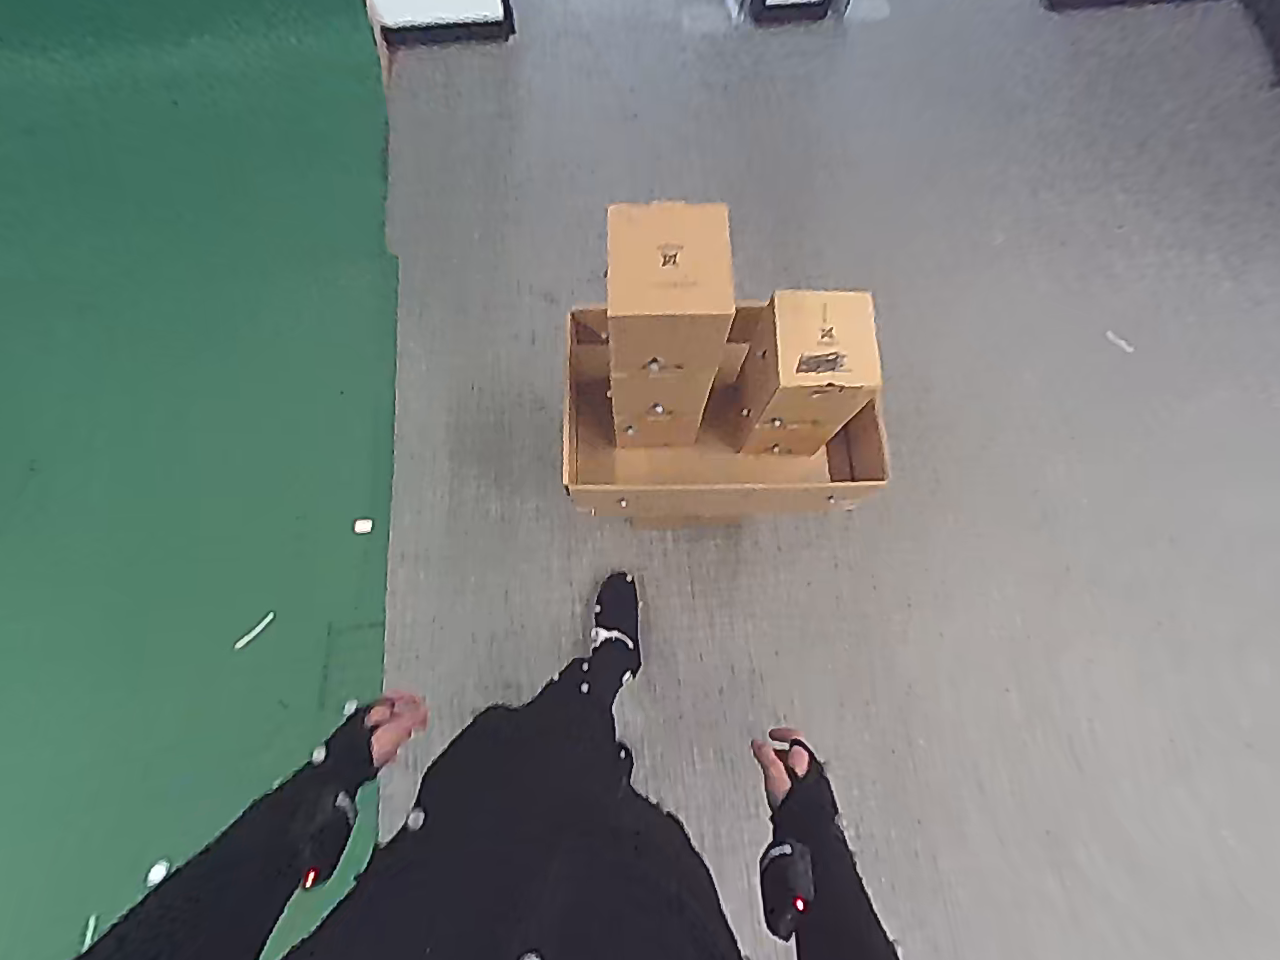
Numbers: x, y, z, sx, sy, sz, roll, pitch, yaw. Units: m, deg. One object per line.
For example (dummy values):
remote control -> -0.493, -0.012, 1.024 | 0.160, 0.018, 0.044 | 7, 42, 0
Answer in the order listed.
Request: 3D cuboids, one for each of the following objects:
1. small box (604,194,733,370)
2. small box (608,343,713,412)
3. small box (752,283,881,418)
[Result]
small box -> 0.034, -0.278, 0.779 | 0.168, 0.176, 0.179 | 0, 74, -1
small box -> 0.029, -0.232, 0.935 | 0.168, 0.176, 0.179 | -1, 73, -1
small box -> 0.295, -0.216, 0.937 | 0.168, 0.176, 0.179 | 1, 74, -1
